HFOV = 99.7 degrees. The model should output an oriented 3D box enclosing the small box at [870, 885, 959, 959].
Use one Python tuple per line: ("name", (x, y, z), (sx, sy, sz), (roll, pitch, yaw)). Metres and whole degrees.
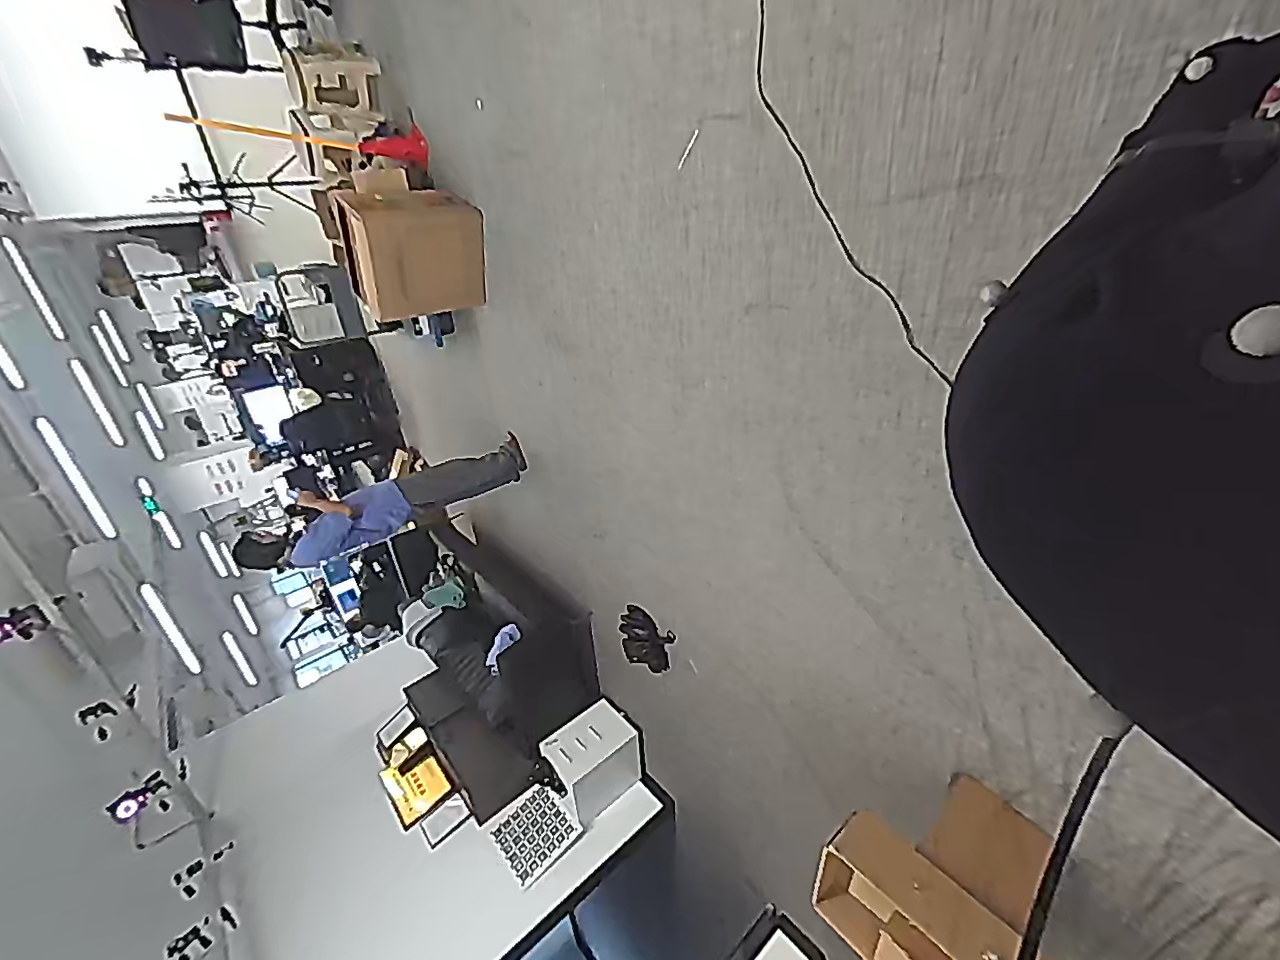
("small box", (0.796, 1.337, 1.568), (0.168, 0.176, 0.179), (26, 133, 44))
